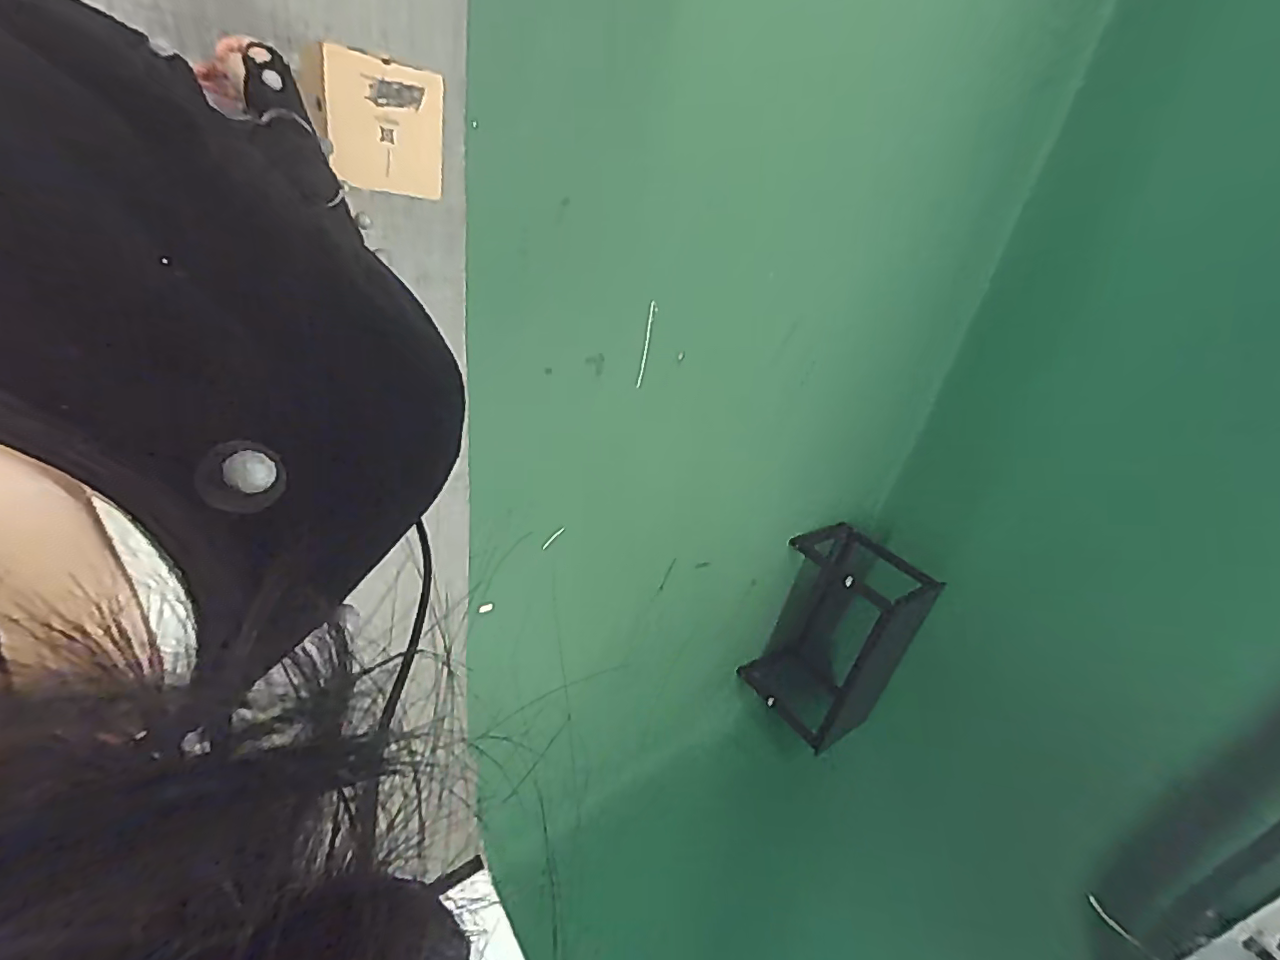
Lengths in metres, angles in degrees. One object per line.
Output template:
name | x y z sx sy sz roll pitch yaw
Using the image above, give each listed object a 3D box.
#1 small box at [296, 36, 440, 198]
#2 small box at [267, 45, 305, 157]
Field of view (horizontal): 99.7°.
small box | -0.432 -0.569 0.858 0.168 0.176 0.179 -11 127 -38
small box | -0.627 -0.722 1.076 0.179 0.176 0.168 -1 120 -41
